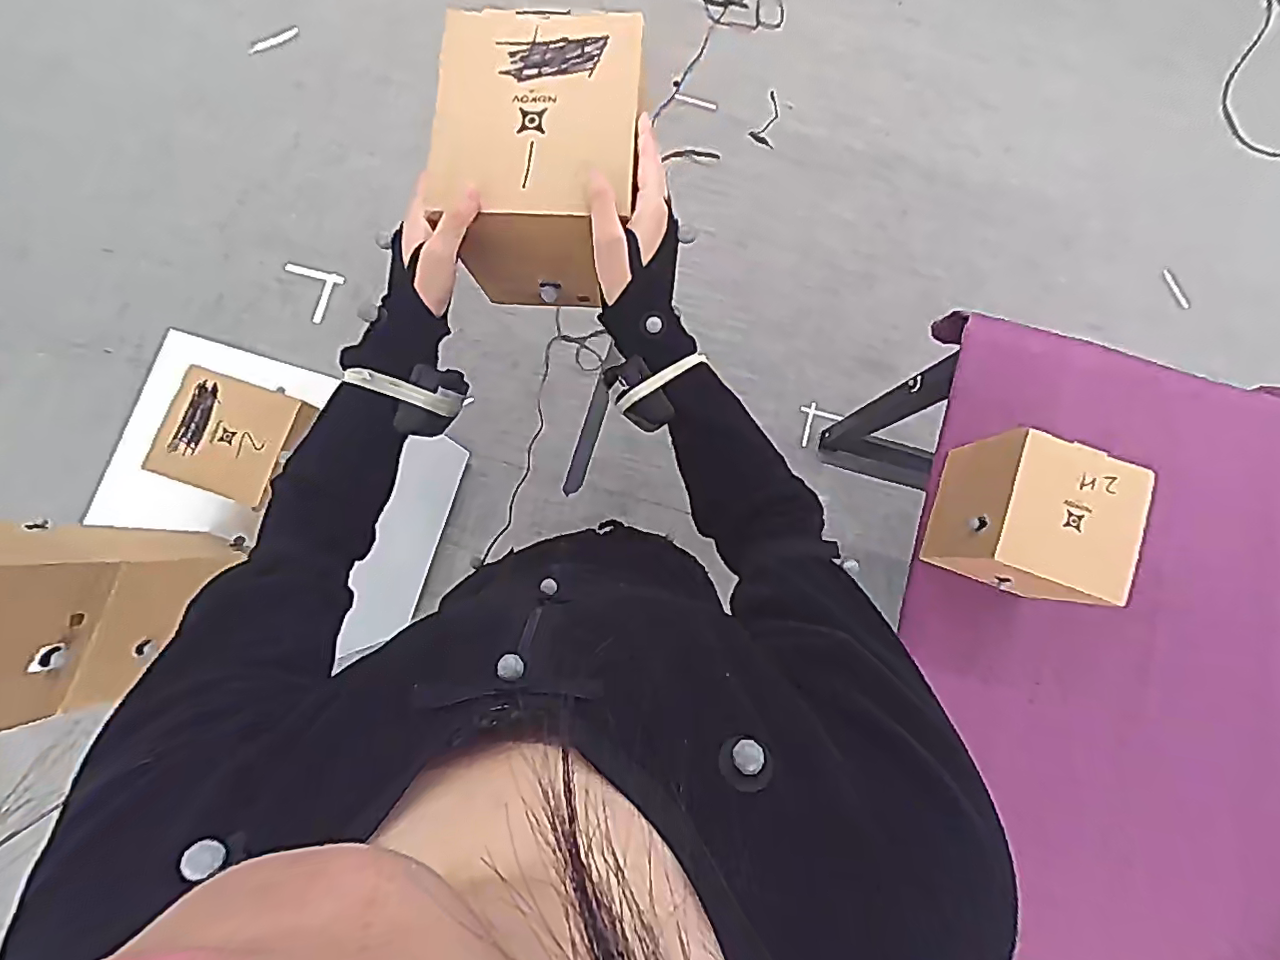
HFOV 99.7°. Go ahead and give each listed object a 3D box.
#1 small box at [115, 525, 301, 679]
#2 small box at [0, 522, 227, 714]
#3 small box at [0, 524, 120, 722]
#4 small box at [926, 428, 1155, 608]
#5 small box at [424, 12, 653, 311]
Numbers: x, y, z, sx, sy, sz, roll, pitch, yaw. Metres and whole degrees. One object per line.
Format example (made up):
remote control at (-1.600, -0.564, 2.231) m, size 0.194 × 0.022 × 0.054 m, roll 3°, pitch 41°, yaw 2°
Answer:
small box at (-0.661, 0.174, 0.805) m, size 0.179 × 0.176 × 0.168 m, roll 17°, pitch 83°, yaw 1°
small box at (-0.653, 0.152, 0.645) m, size 0.179 × 0.176 × 0.168 m, roll 16°, pitch 82°, yaw 1°
small box at (-0.649, 0.127, 0.484) m, size 0.179 × 0.176 × 0.168 m, roll 16°, pitch 83°, yaw 0°
small box at (0.521, 0.054, 0.729) m, size 0.168 × 0.176 × 0.179 m, roll 20°, pitch 82°, yaw 0°
small box at (-0.077, -0.279, 0.504) m, size 0.168 × 0.176 × 0.179 m, roll 4°, pitch 84°, yaw 4°
